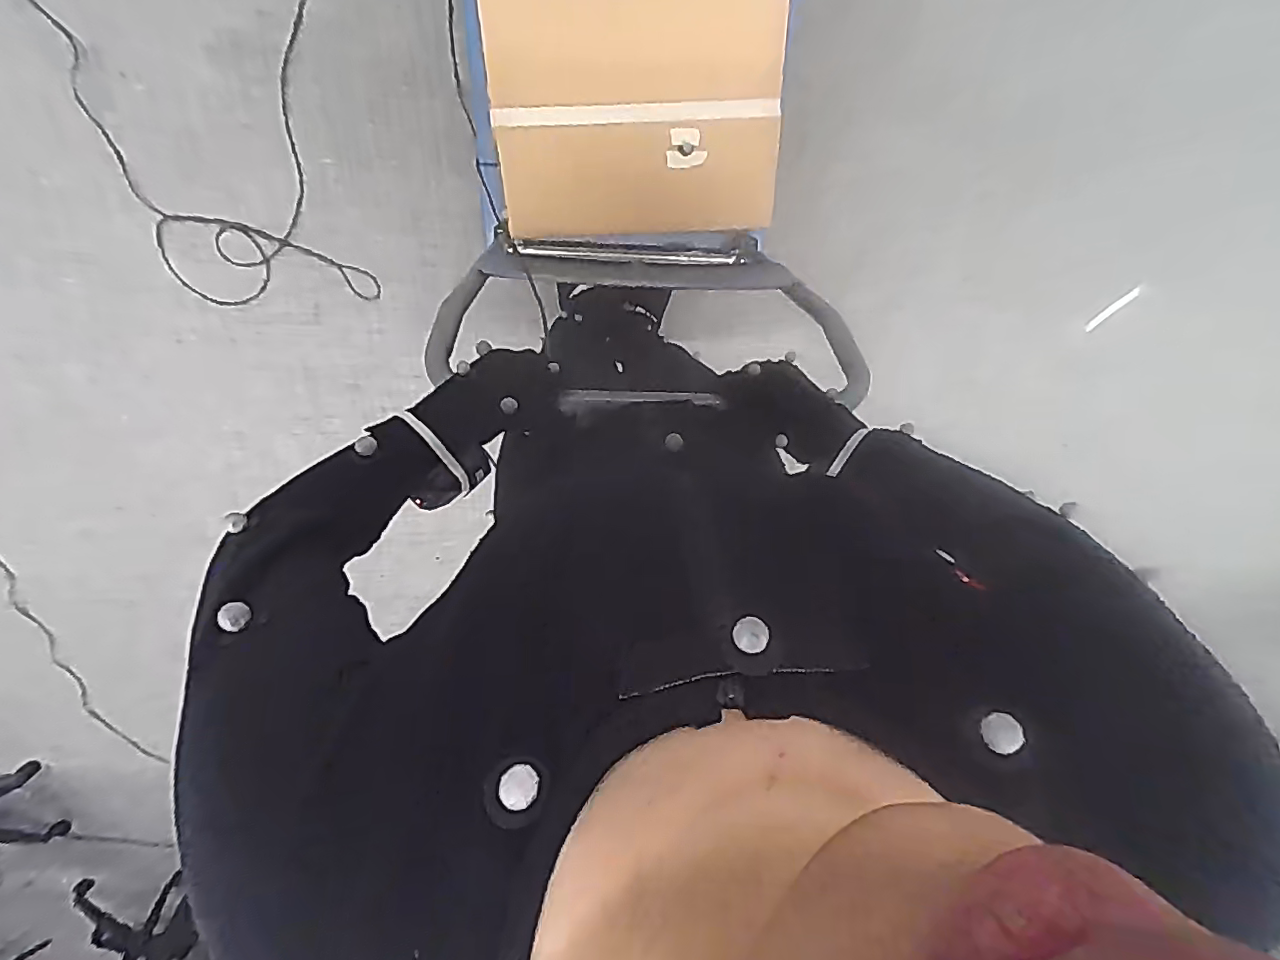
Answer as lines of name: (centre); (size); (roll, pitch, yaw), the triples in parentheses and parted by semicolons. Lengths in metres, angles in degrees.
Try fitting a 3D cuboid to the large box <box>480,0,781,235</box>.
large box: (-0.018, -0.603, 0.897); (0.408, 0.320, 0.320); (-4, 121, -3)
